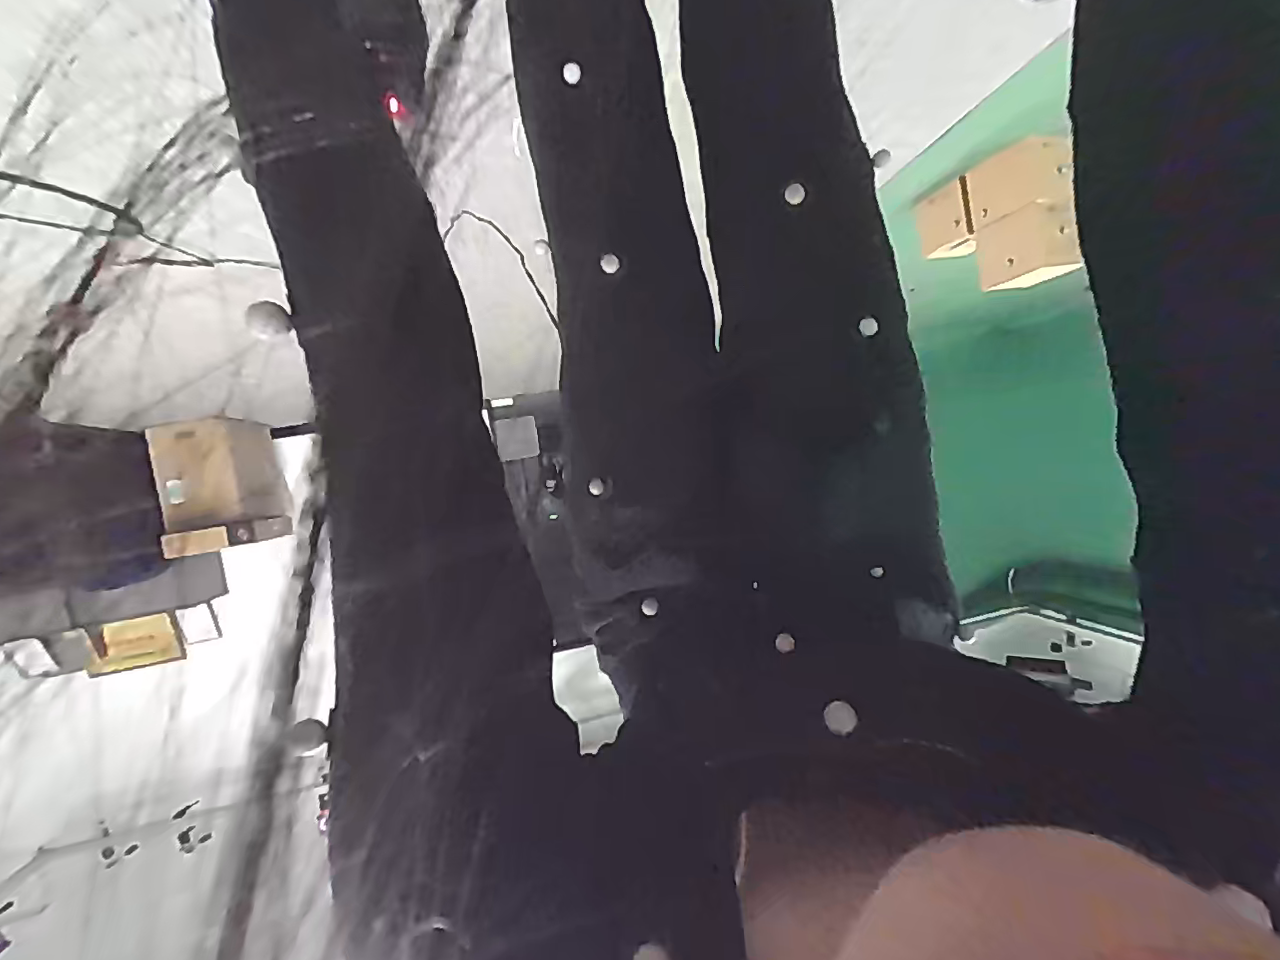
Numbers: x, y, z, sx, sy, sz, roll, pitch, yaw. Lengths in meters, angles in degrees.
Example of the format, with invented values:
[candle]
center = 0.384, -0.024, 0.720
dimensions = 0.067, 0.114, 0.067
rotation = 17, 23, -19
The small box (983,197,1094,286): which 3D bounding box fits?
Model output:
[small box]
center = 1.052, -0.636, 1.441
dimensions = 0.168, 0.176, 0.179
rotation = -10, -177, -14
